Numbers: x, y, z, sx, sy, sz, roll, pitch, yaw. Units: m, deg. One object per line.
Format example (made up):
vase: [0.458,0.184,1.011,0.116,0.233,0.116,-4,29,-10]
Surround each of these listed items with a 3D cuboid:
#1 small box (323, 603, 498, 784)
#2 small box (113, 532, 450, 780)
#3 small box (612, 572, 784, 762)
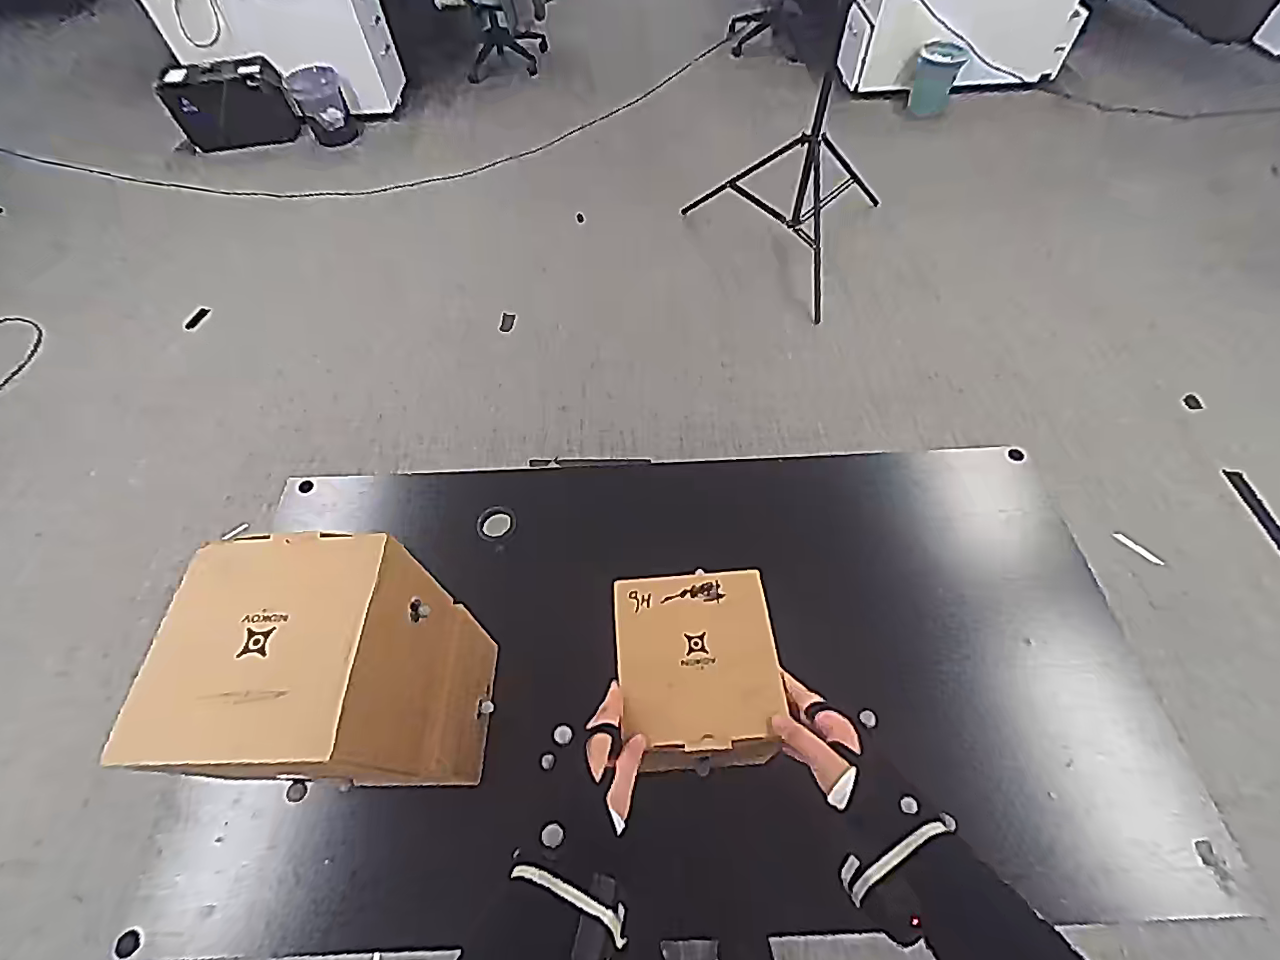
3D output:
small box: [-0.279,0.251,0.624,0.179,0.176,0.168,-1,57,0]
small box: [-0.286,0.163,0.487,0.168,0.176,0.179,-3,58,2]
small box: [0.058,0.224,0.630,0.168,0.176,0.179,-4,56,0]
